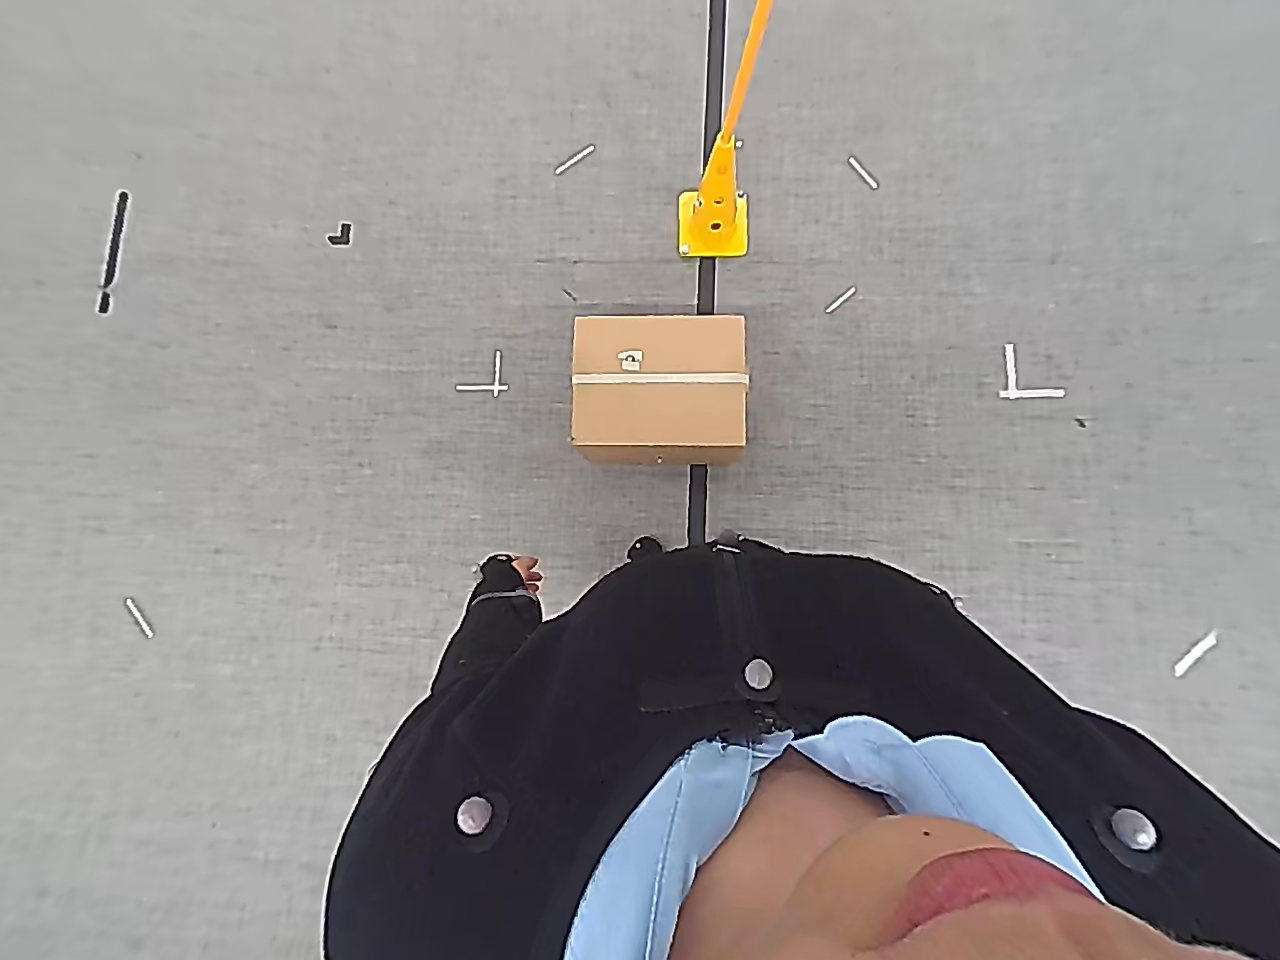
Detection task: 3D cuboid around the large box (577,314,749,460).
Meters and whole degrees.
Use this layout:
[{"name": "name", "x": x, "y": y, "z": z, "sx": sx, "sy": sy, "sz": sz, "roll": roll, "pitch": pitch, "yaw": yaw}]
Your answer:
[{"name": "large box", "x": 0.064, "y": -0.222, "z": 1.414, "sx": 0.408, "sy": 0.320, "sz": 0.320, "roll": 0, "pitch": 83, "yaw": 5}]
